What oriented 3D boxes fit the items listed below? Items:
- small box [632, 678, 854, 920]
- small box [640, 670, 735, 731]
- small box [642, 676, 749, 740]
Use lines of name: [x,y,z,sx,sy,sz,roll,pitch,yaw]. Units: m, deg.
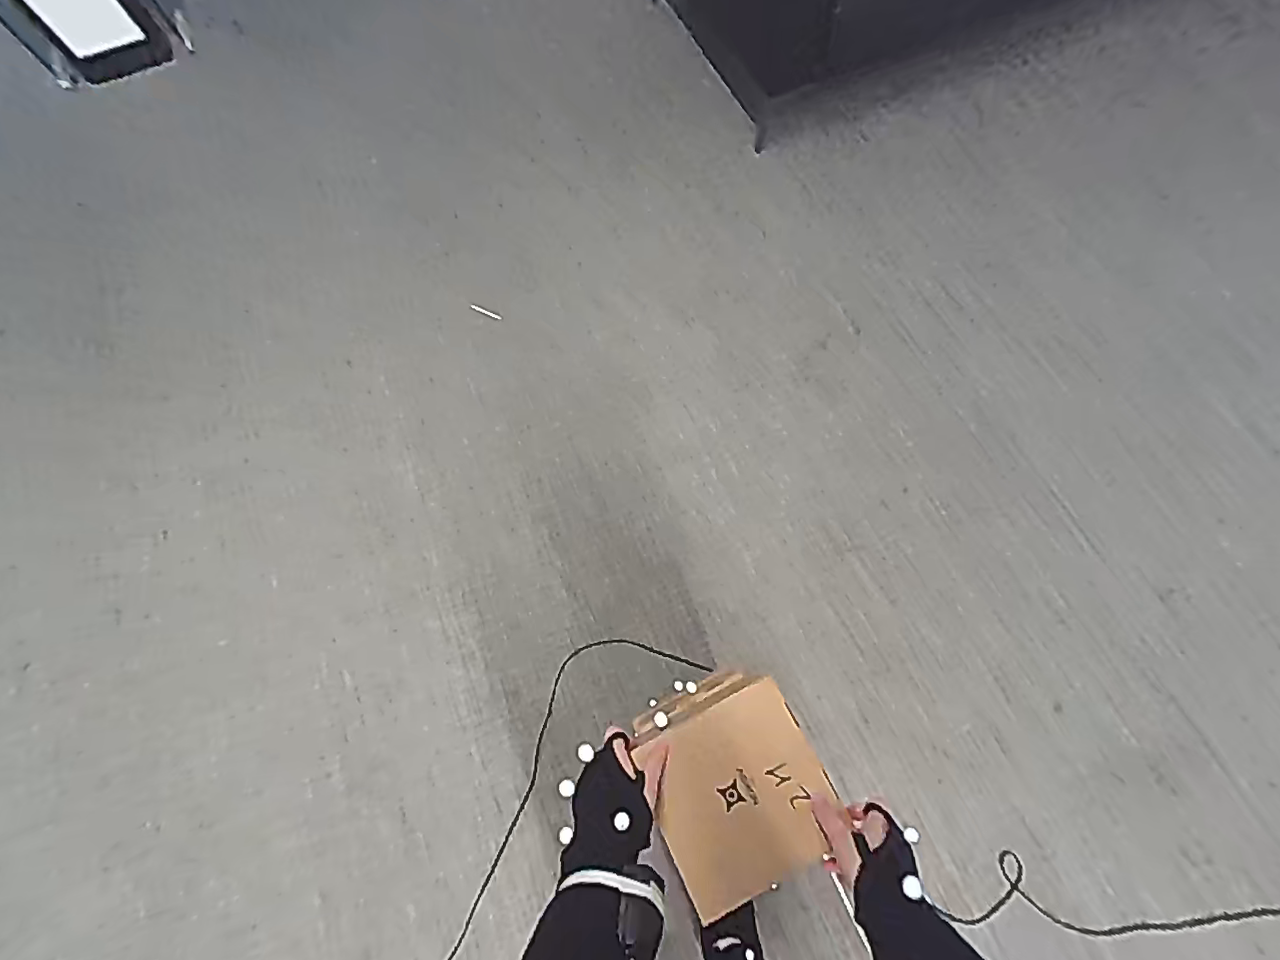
small box: [0.108,0.348,0.627,0.179,0.176,0.168,-27,71,-6]
small box: [0.116,0.449,0.938,0.179,0.176,0.168,-27,71,-7]
small box: [0.118,0.401,0.782,0.168,0.176,0.179,-27,70,-6]
